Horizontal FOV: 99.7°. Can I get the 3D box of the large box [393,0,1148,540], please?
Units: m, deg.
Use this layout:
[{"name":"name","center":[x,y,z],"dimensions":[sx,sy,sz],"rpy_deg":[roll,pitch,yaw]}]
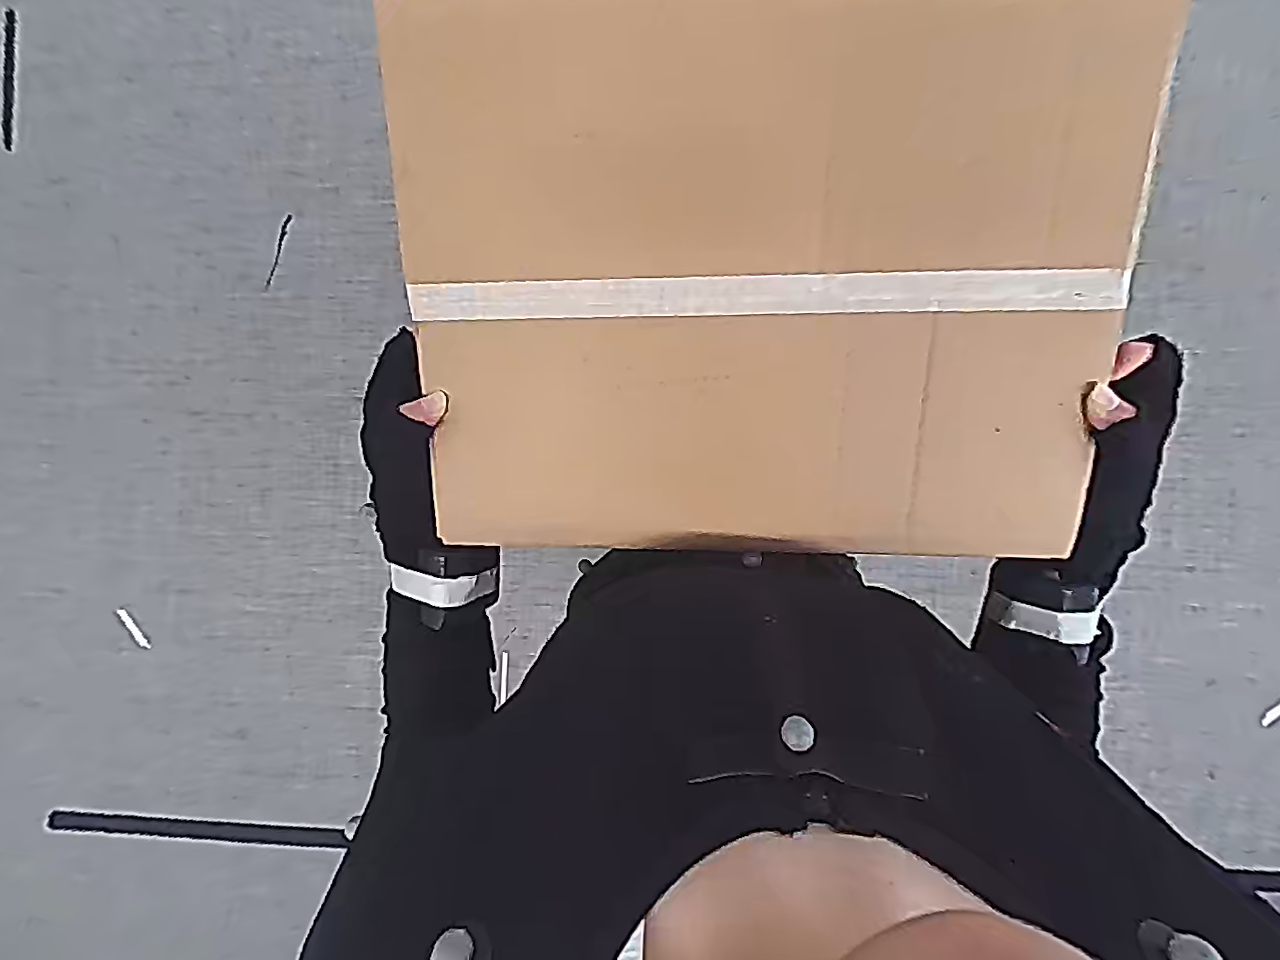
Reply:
[{"name":"large box","center":[0.071,-0.146,0.465],"dimensions":[0.408,0.320,0.320],"rpy_deg":[0,106,4]}]
